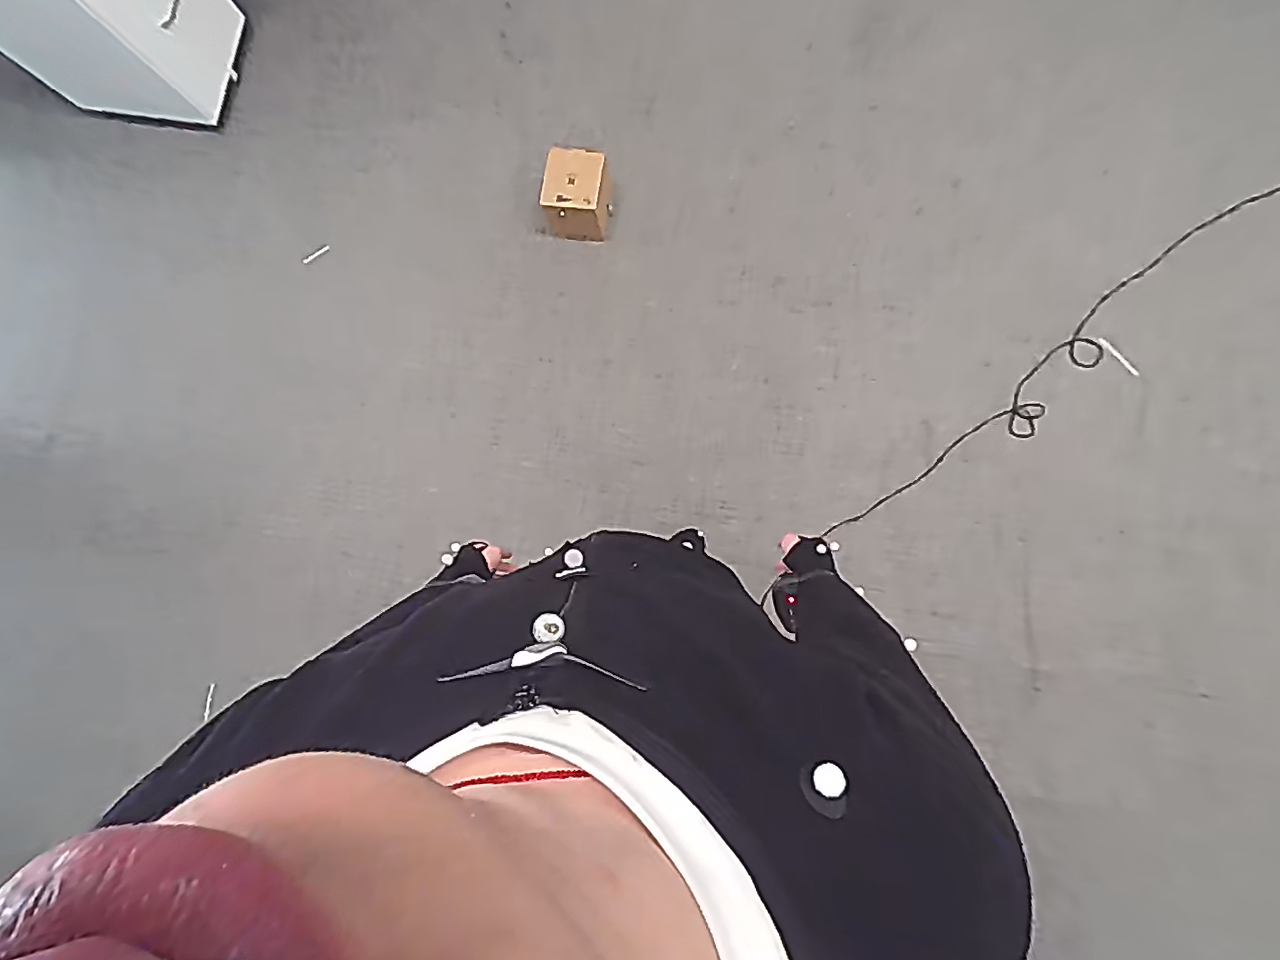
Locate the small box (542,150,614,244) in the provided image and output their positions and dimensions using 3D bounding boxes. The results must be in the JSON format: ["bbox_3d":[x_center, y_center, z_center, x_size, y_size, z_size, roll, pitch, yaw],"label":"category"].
[{"bbox_3d":[-0.177,-0.839,1.611,0.168,0.176,0.179,9,84,7],"label":"small box"}]
